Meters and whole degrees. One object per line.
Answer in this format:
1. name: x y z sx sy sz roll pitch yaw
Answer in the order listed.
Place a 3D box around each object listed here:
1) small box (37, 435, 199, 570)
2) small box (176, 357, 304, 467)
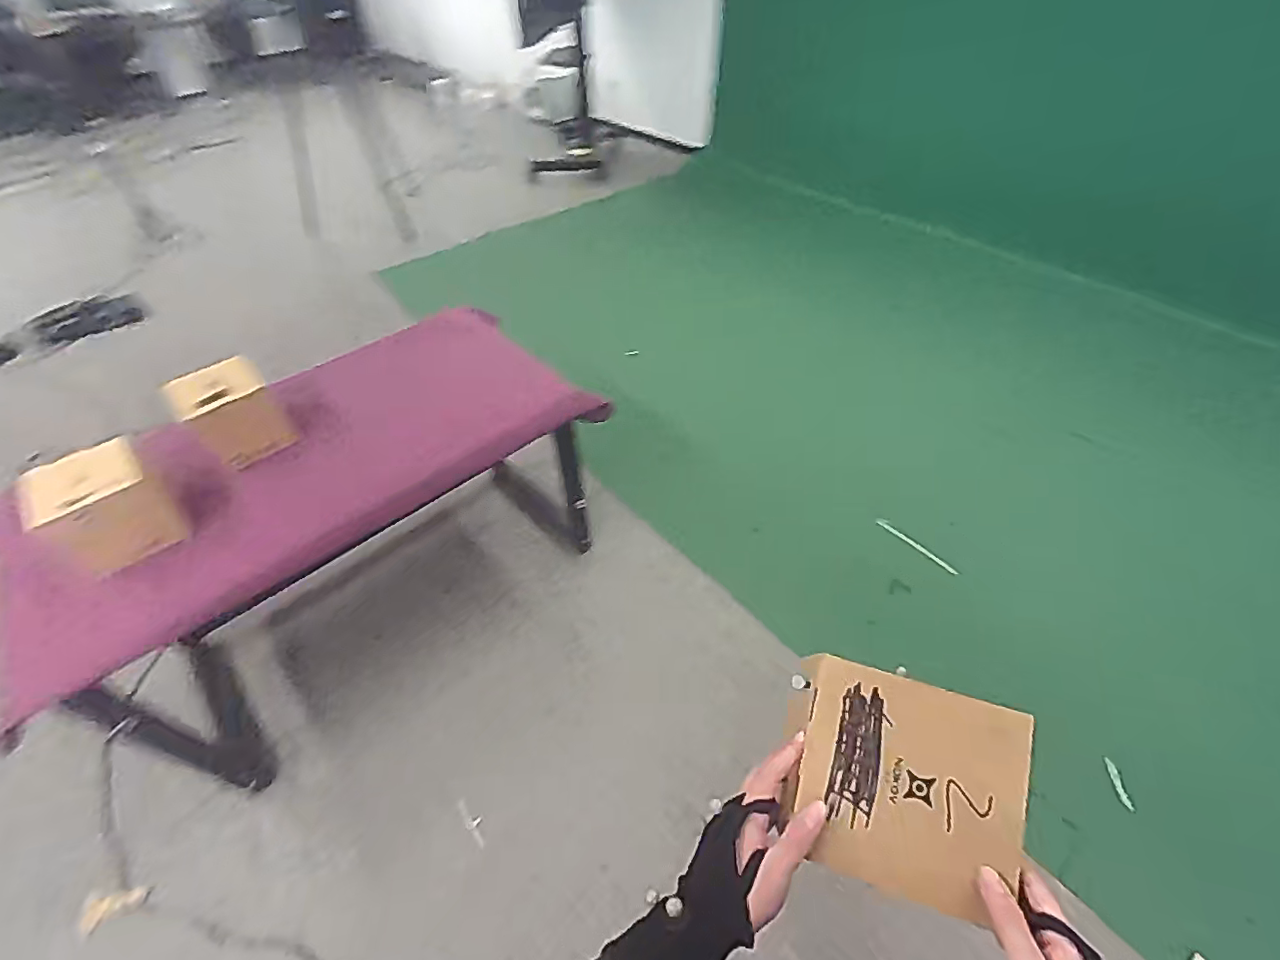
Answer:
1. small box: -1.042 0.047 1.089 0.168 0.176 0.179 -34 55 -25
2. small box: -0.935 -0.155 1.277 0.168 0.176 0.179 -35 55 -27
